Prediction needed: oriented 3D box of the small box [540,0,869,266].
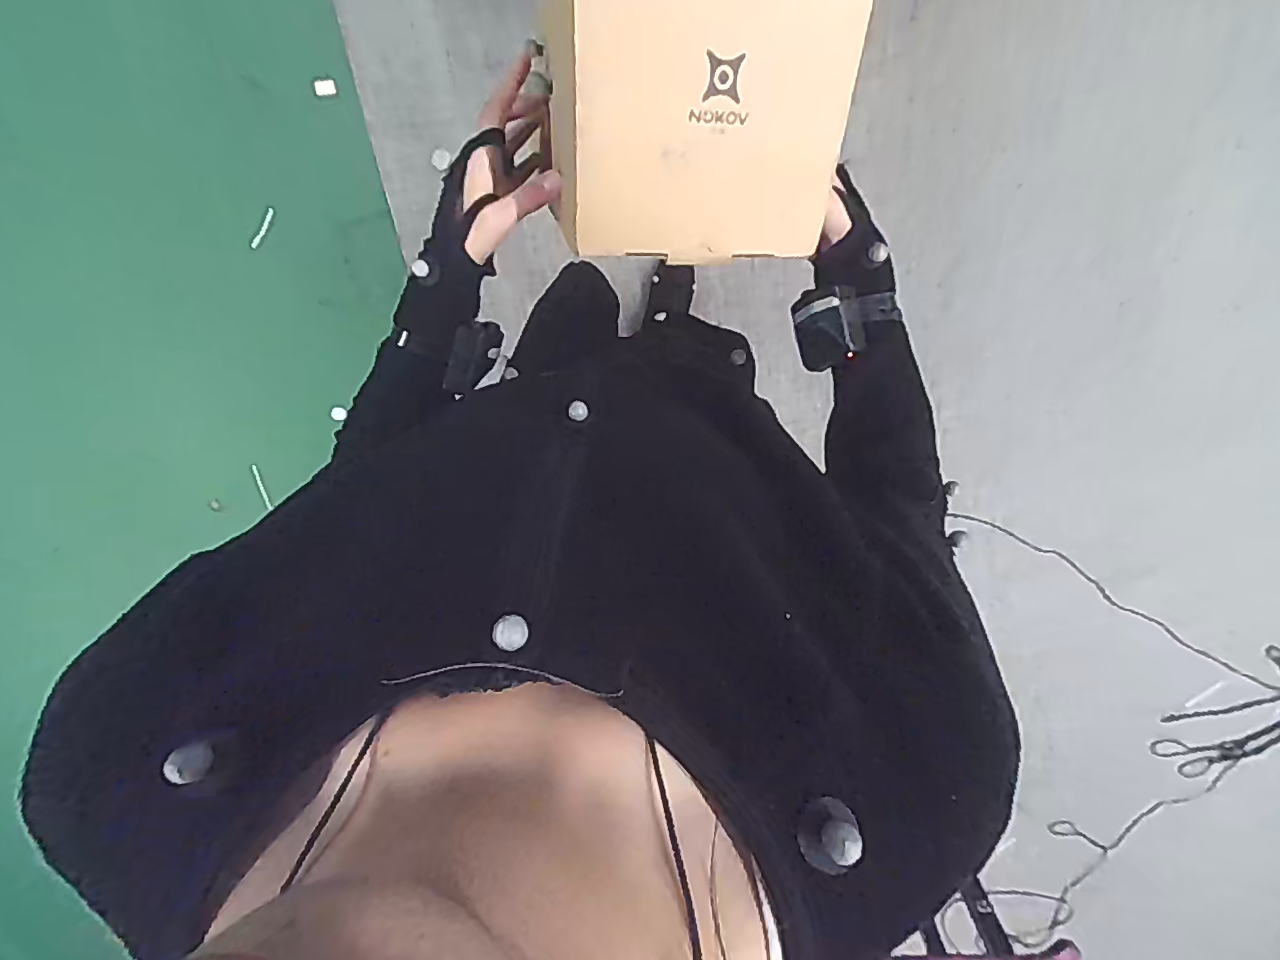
[{"bbox_3d":[0.023,-0.260,0.368,0.168,0.176,0.179,-5,127,-12],"label":"small box"}]
